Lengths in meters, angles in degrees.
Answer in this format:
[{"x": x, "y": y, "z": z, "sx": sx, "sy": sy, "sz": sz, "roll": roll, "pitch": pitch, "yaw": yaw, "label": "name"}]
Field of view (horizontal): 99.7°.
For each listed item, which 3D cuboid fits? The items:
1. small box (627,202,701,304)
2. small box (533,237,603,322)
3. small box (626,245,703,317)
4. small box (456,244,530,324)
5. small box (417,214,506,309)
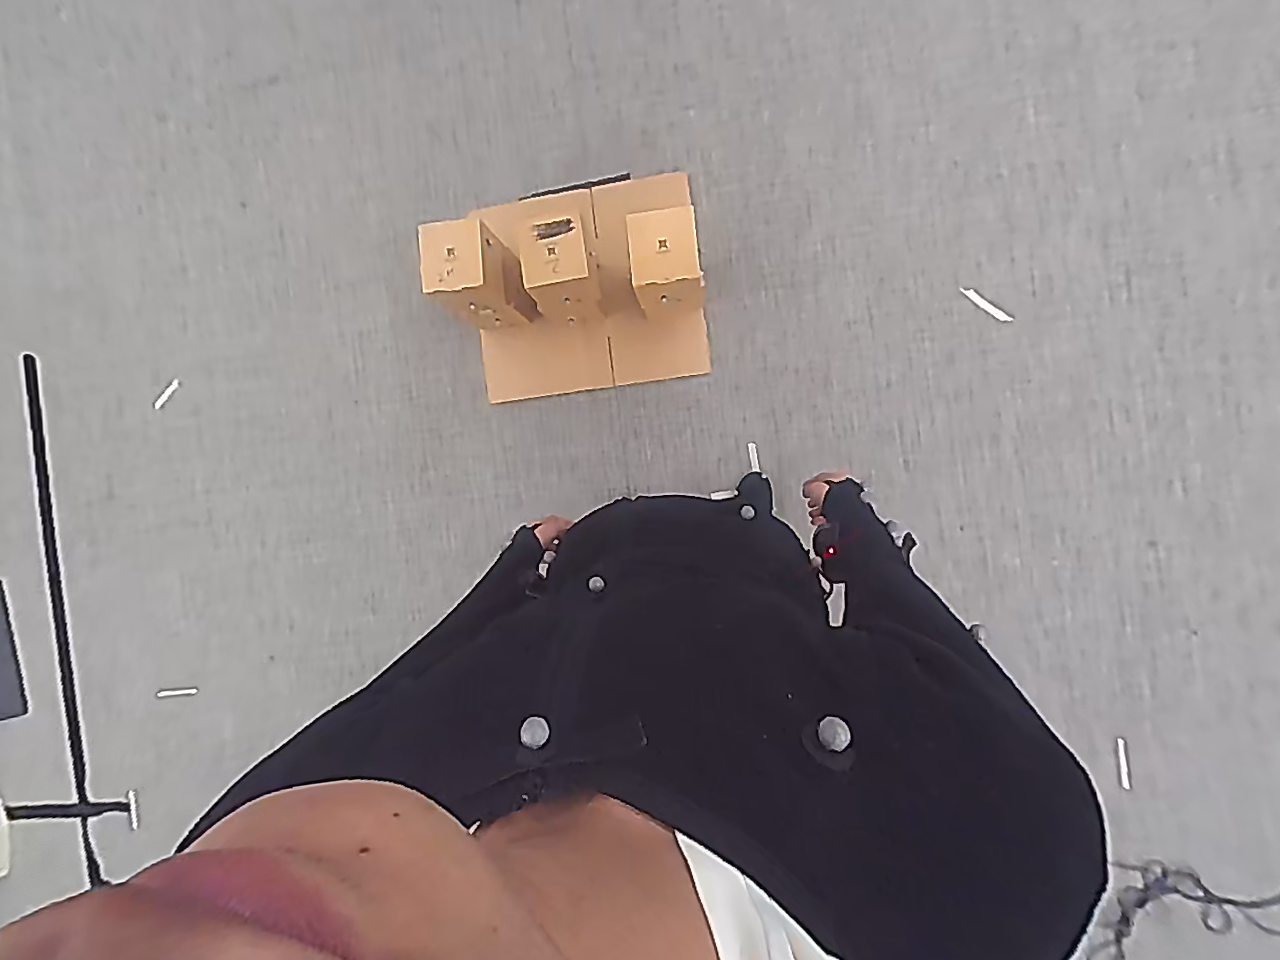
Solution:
[{"x": 0.062, "y": -0.562, "z": 1.358, "sx": 0.168, "sy": 0.176, "sz": 0.179, "roll": -6, "pitch": 91, "yaw": 7, "label": "small box"}, {"x": -0.202, "y": -0.570, "z": 1.553, "sx": 0.168, "sy": 0.176, "sz": 0.179, "roll": -3, "pitch": 91, "yaw": 6, "label": "small box"}, {"x": 0.076, "y": -0.577, "z": 1.520, "sx": 0.179, "sy": 0.176, "sz": 0.168, "roll": -16, "pitch": 89, "yaw": 6, "label": "small box"}, {"x": -0.431, "y": -0.563, "z": 1.581, "sx": 0.168, "sy": 0.176, "sz": 0.179, "roll": -5, "pitch": 91, "yaw": 7, "label": "small box"}, {"x": -0.462, "y": -0.566, "z": 1.418, "sx": 0.168, "sy": 0.176, "sz": 0.179, "roll": -4, "pitch": 91, "yaw": 8, "label": "small box"}]
